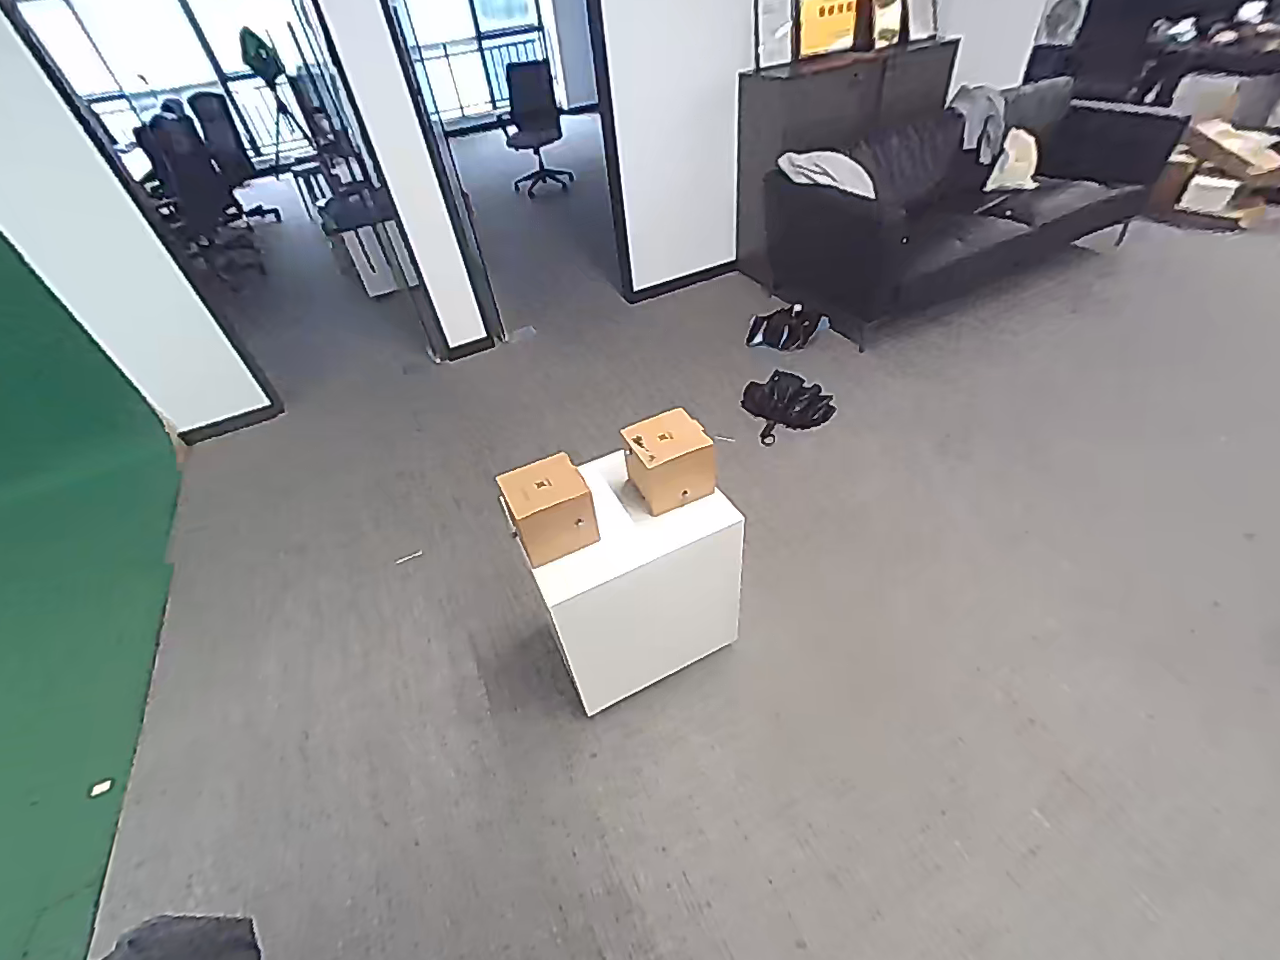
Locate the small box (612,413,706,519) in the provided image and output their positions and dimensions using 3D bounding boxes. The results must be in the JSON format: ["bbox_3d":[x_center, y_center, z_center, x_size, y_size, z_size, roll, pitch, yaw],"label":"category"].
[{"bbox_3d":[0.045,-0.034,1.339,0.179,0.176,0.168,-21,45,-17],"label":"small box"}]

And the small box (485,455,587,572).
[{"bbox_3d":[-0.232,0.076,1.242,0.179,0.176,0.168,-23,44,-20],"label":"small box"}]
